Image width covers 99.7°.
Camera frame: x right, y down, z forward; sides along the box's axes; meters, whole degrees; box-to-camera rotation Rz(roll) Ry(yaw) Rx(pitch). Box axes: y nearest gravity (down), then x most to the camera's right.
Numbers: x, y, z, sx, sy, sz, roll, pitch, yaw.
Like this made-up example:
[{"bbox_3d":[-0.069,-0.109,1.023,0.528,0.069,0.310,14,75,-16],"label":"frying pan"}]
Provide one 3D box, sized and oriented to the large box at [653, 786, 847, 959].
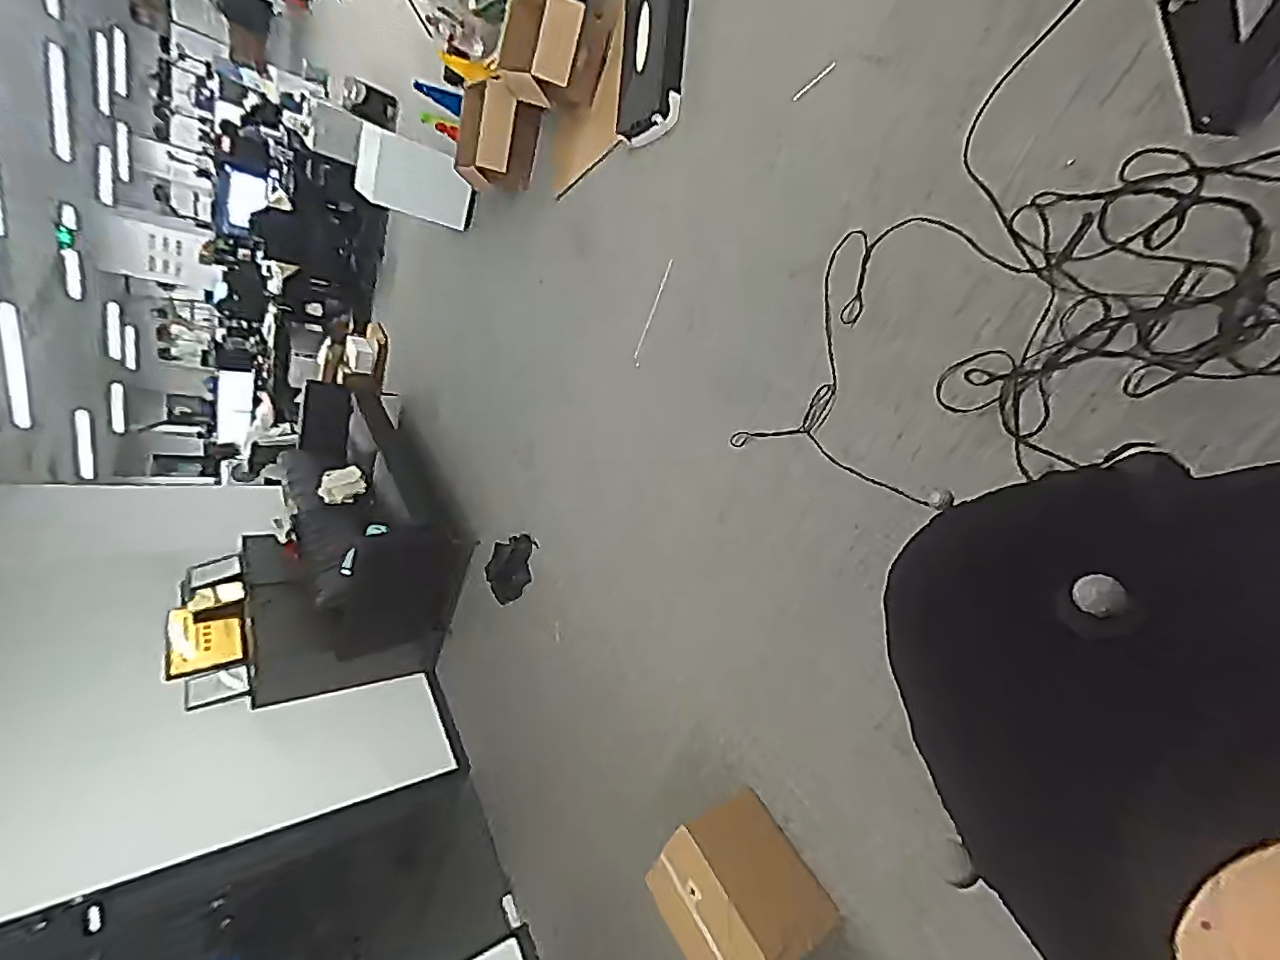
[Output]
[{"bbox_3d":[0.312,1.221,1.598,0.408,0.320,0.320,47,123,41],"label":"large box"}]
